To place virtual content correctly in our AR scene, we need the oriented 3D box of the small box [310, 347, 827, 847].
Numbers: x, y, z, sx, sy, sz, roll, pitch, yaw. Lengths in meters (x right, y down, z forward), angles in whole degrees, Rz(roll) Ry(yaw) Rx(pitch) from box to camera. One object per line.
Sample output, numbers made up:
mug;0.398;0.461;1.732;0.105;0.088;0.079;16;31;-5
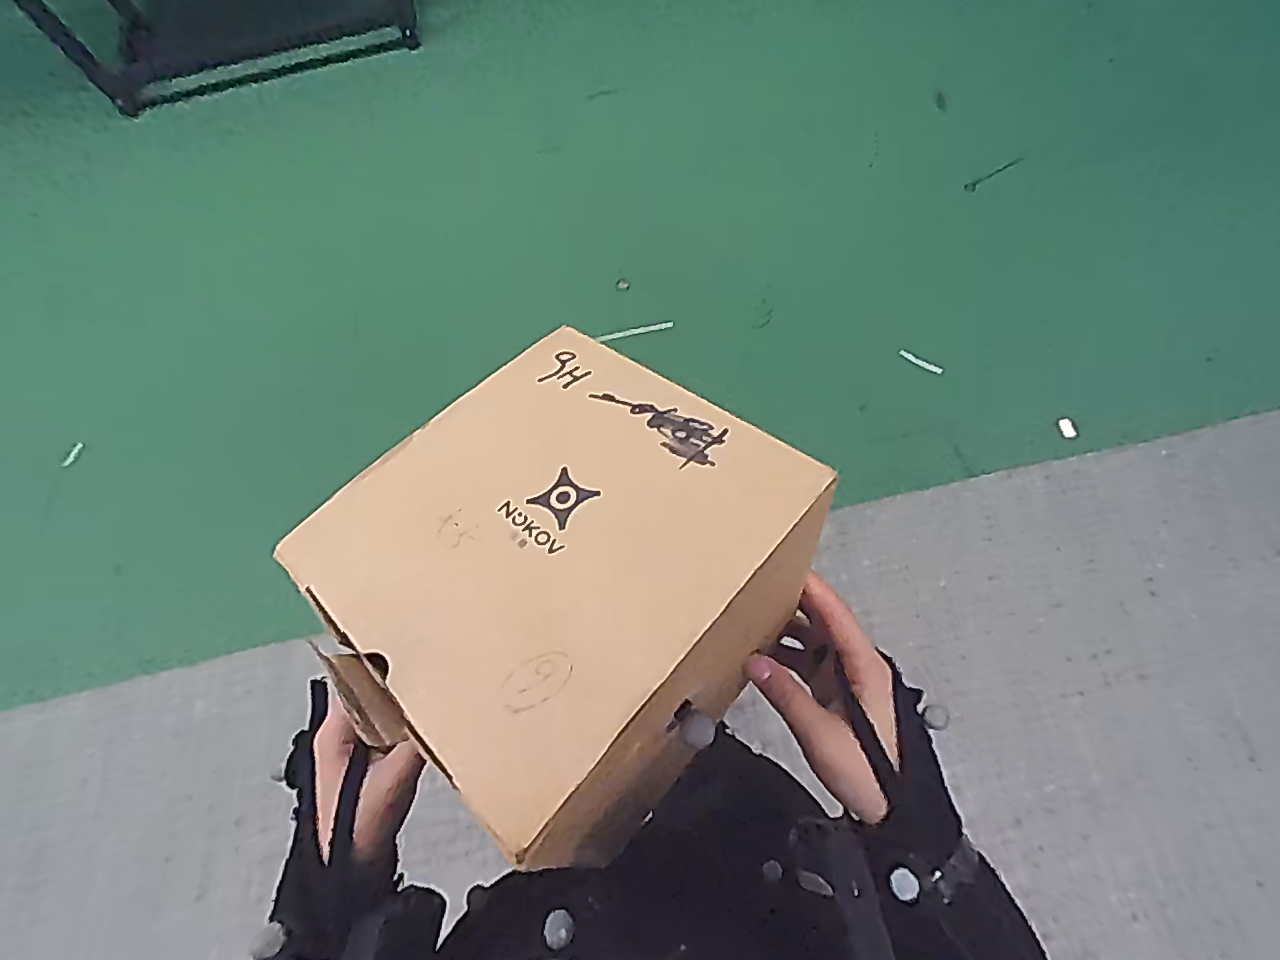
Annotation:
small box;-0.023;0.067;0.300;0.168;0.176;0.179;34;65;27
